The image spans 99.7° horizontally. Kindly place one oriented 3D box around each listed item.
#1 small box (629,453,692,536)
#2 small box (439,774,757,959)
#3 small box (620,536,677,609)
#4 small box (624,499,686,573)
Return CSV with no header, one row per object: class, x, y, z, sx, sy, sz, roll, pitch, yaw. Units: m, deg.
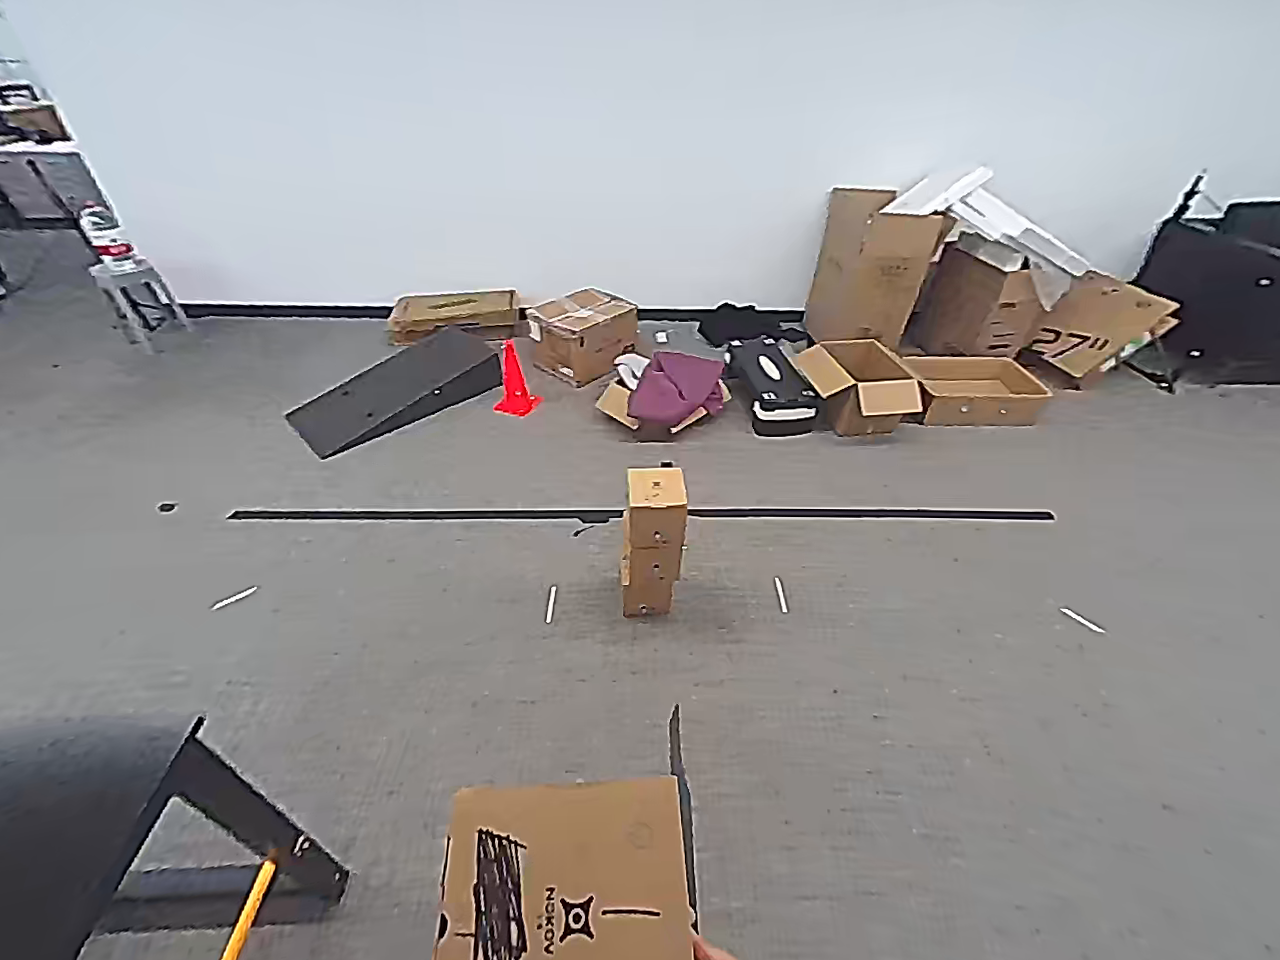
small box,0.054,0.040,1.554,0.168,0.176,0.179,-2,40,-3
small box,-0.026,0.306,0.358,0.179,0.176,0.168,-1,52,-5
small box,0.023,0.295,1.762,0.168,0.176,0.179,-5,42,-6
small box,0.044,0.170,1.657,0.168,0.176,0.179,-5,41,-7
